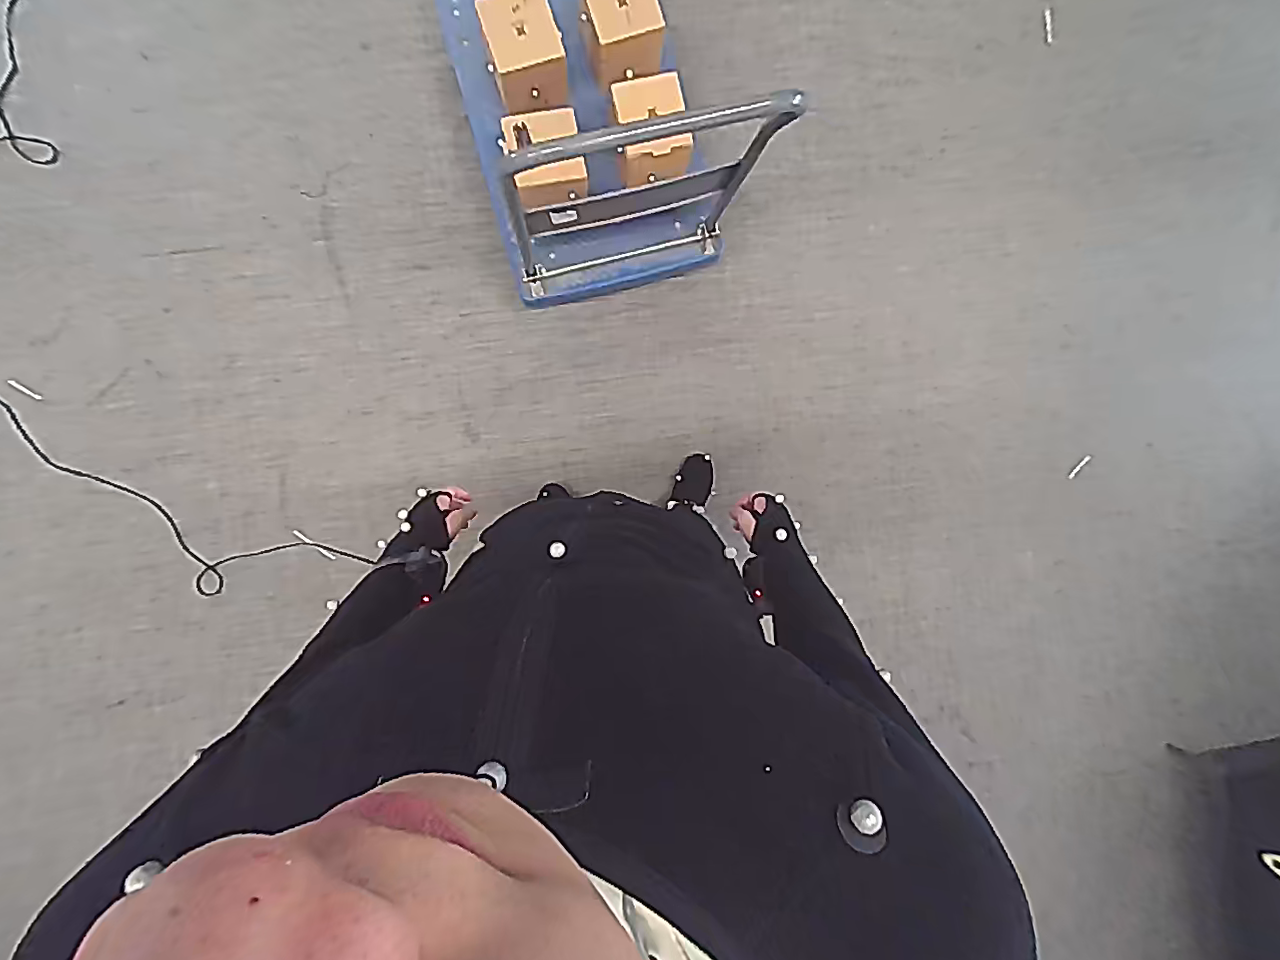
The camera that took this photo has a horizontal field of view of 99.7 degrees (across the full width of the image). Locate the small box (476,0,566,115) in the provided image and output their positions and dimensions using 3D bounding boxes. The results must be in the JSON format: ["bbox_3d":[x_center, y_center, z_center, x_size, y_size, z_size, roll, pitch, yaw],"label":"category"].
[{"bbox_3d":[-0.288,-1.054,1.351,0.168,0.176,0.179,-19,93,-5],"label":"small box"}]

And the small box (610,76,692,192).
[{"bbox_3d":[0.022,-0.879,1.385,0.168,0.176,0.179,-15,93,-5],"label":"small box"}]

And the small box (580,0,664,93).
[{"bbox_3d":[-0.052,-1.139,1.369,0.168,0.176,0.179,-19,94,-3],"label":"small box"}]
